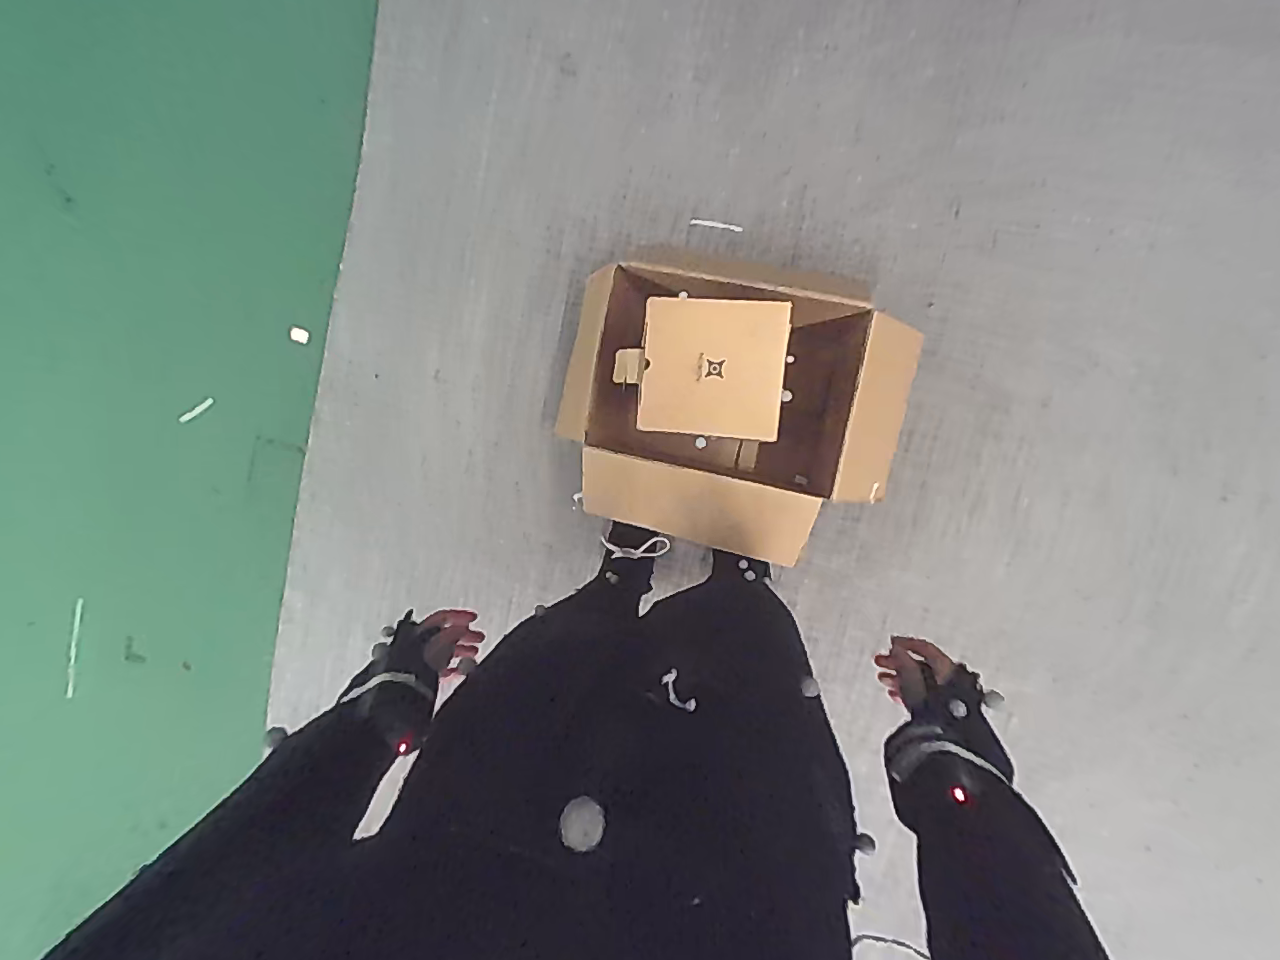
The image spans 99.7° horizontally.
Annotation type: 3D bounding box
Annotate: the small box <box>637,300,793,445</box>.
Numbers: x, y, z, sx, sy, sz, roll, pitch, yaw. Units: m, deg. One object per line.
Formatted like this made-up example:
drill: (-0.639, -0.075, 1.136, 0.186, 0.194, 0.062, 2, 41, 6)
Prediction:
small box: (0.105, -0.140, 0.738, 0.179, 0.176, 0.168, 7, 96, 12)
